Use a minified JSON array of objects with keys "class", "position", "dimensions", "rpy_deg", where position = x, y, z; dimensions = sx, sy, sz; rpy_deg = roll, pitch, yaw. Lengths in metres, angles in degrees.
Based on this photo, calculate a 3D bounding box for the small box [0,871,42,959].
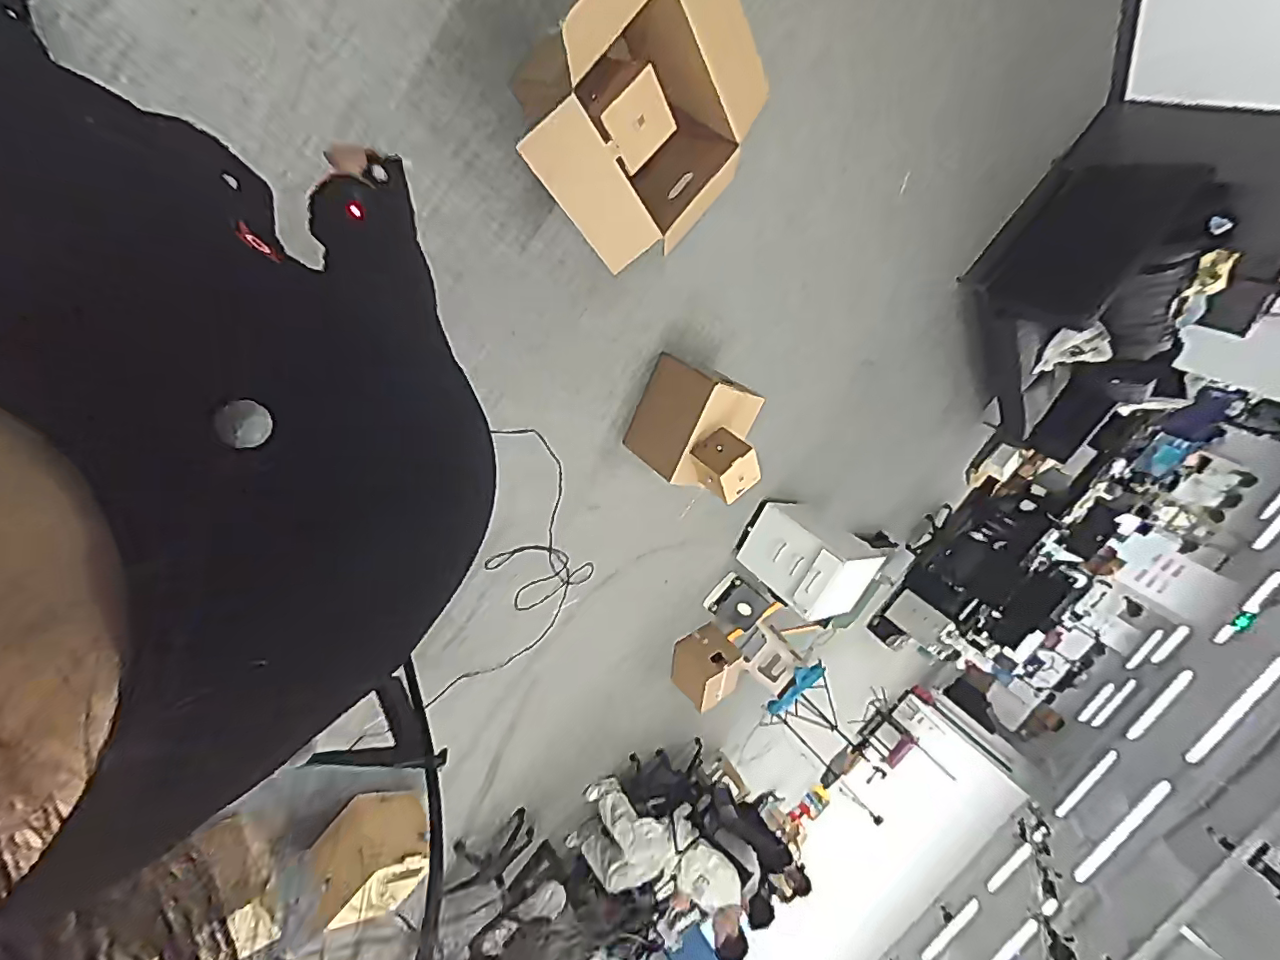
[{"class":"small box","position":[-0.944,0.637,0.695],"dimensions":[0.168,0.176,0.179],"rpy_deg":[-34,141,-17]}]

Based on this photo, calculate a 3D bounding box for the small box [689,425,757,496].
[{"class":"small box","position":[0.302,-0.080,1.974],"dimensions":[0.168,0.176,0.179],"rpy_deg":[-39,139,-11]}]

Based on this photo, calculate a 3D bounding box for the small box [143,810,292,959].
[{"class":"small box","position":[-0.750,0.732,0.963],"dimensions":[0.168,0.176,0.179],"rpy_deg":[-19,134,-31]}]
